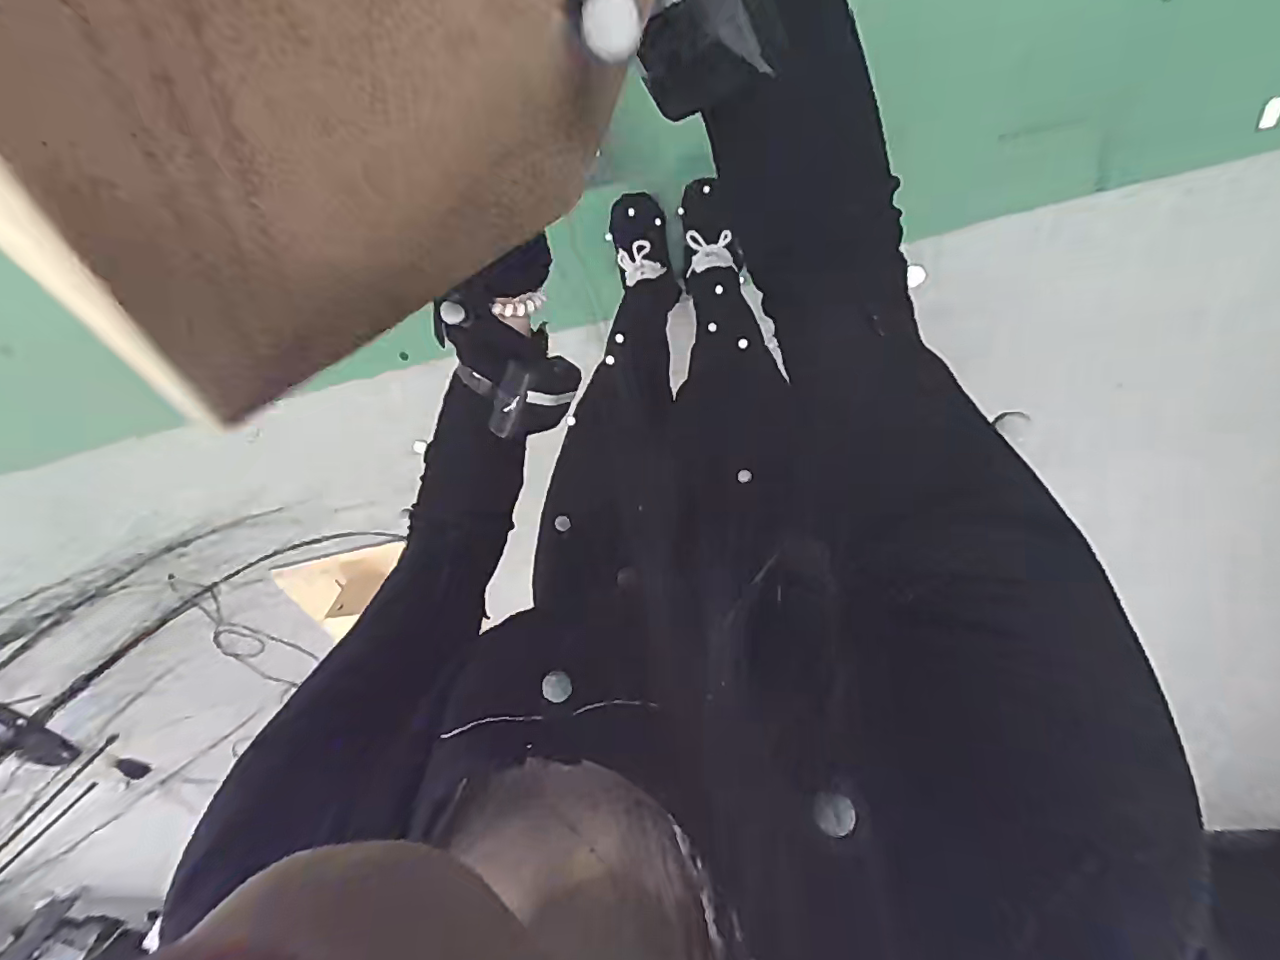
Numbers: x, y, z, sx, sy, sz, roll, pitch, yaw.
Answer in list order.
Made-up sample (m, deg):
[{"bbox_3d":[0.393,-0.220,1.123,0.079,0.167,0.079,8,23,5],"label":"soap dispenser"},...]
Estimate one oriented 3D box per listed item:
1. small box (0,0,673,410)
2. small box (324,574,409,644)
[{"bbox_3d":[-0.098,-0.141,0.118,0.168,0.176,0.179,43,155,-8],"label":"small box"},{"bbox_3d":[-0.953,0.451,1.901,0.179,0.176,0.168,-10,127,10],"label":"small box"}]
